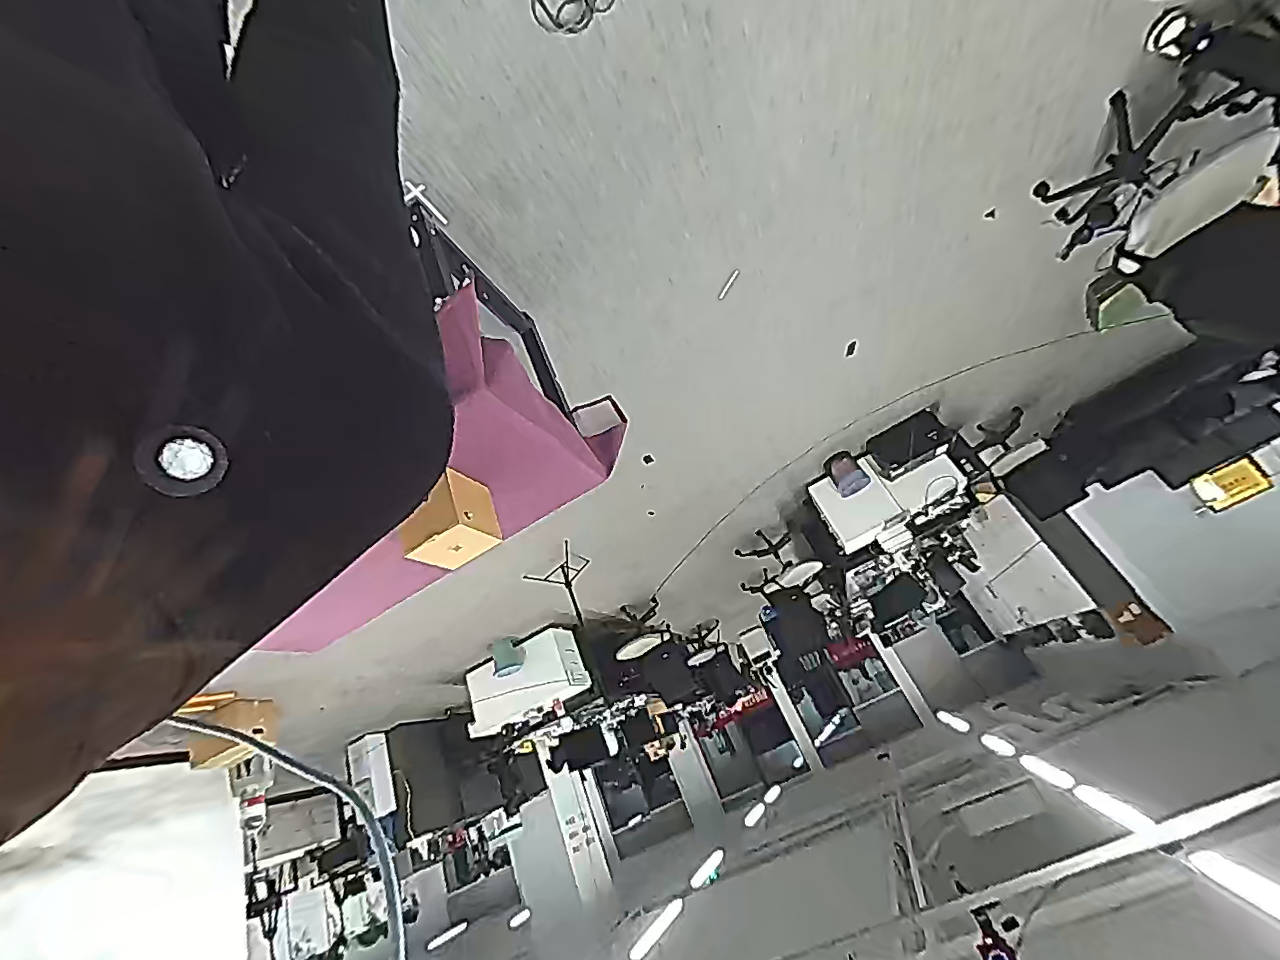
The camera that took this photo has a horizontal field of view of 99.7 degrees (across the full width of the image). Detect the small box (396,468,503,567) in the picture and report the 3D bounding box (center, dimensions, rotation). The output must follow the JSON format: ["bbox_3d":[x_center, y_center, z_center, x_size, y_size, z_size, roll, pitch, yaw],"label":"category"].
[{"bbox_3d":[-0.475,0.094,1.347,0.168,0.176,0.179,-30,152,10],"label":"small box"}]
